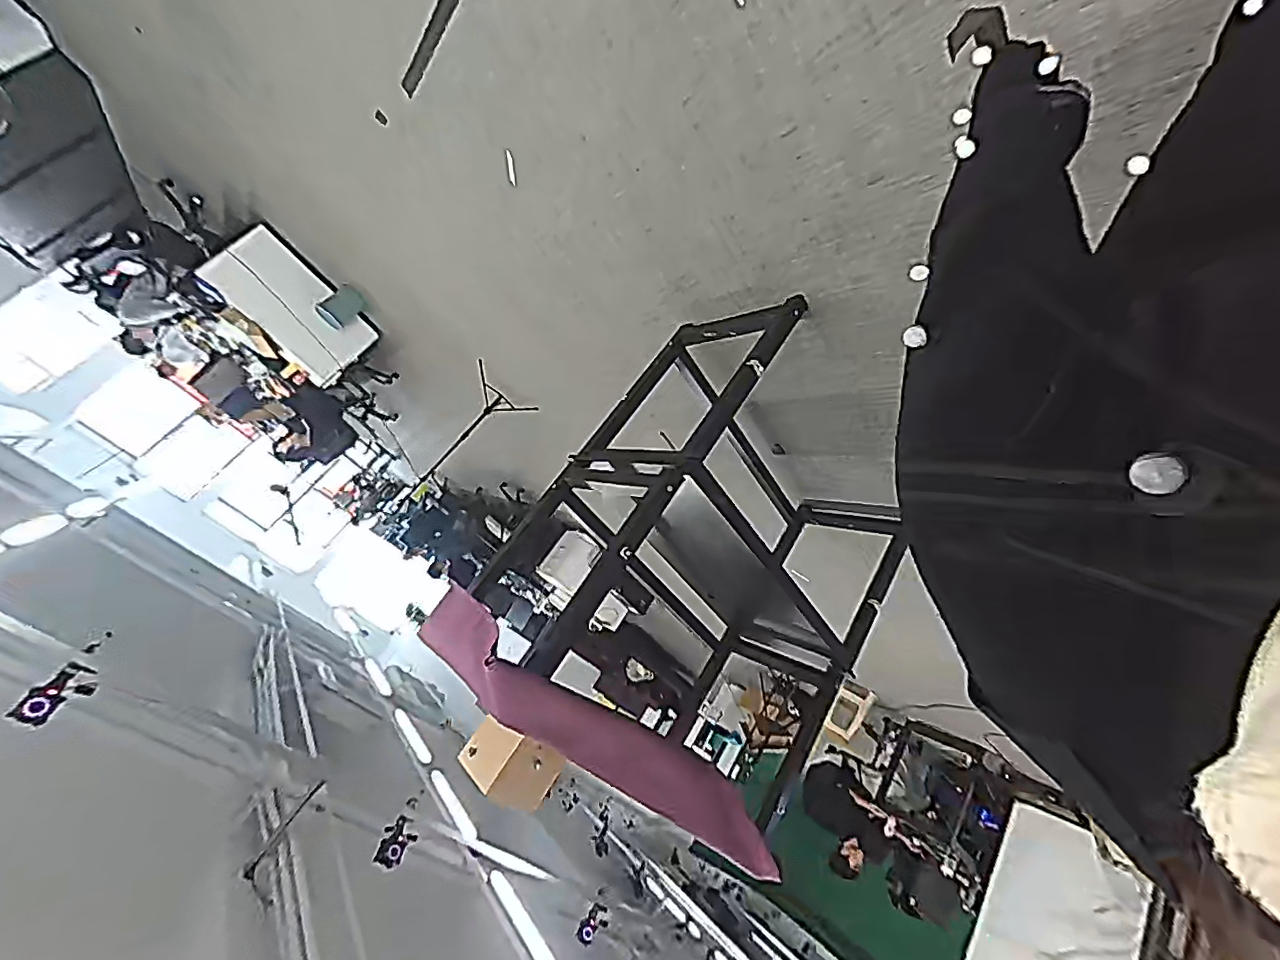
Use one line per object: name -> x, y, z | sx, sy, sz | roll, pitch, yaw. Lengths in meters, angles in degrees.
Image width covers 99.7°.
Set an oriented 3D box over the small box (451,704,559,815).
small box -> -0.337, 0.696, 1.368 | 0.179, 0.176, 0.168 | 9, 148, 50
